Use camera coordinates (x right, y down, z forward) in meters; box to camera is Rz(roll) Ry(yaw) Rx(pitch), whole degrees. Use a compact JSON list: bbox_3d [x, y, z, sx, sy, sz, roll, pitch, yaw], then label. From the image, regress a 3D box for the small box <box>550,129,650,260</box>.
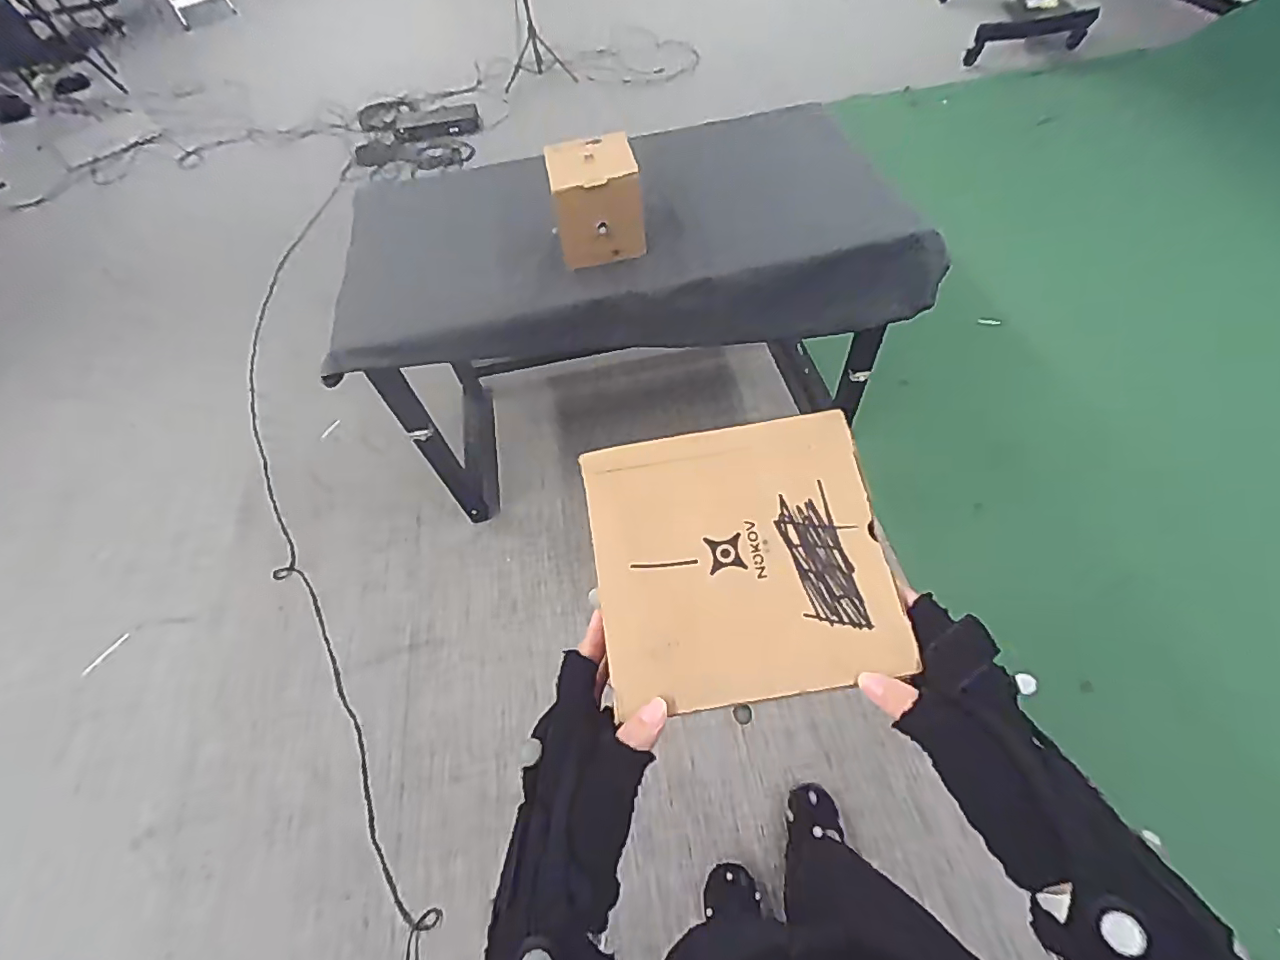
[{"bbox_3d":[-0.076,-0.565,1.089,0.168,0.176,0.179,-11,57,-1],"label":"small box"}]
